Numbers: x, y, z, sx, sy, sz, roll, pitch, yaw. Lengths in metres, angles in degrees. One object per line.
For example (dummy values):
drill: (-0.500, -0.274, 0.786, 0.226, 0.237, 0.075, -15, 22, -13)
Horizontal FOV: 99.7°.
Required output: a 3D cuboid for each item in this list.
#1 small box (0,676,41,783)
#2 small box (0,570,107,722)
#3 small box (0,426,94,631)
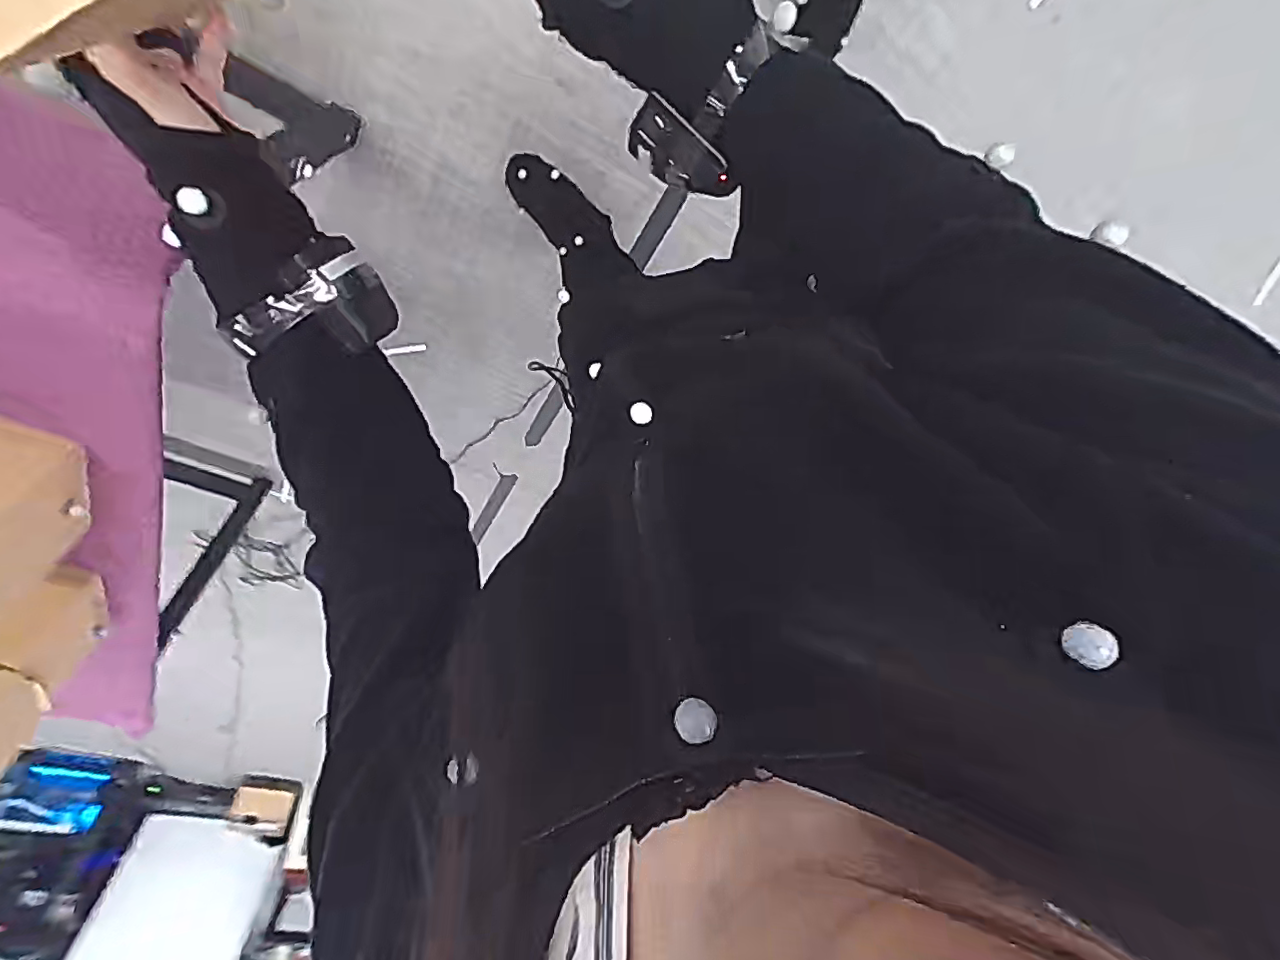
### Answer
small box: (-0.918, 0.345, 0.678, 0.168, 0.176, 0.179, 22, 128, -22)
small box: (-0.938, 0.230, 0.795, 0.179, 0.176, 0.168, 21, 129, -20)
small box: (-0.786, 0.042, 0.623, 0.168, 0.176, 0.179, 23, 128, -23)
